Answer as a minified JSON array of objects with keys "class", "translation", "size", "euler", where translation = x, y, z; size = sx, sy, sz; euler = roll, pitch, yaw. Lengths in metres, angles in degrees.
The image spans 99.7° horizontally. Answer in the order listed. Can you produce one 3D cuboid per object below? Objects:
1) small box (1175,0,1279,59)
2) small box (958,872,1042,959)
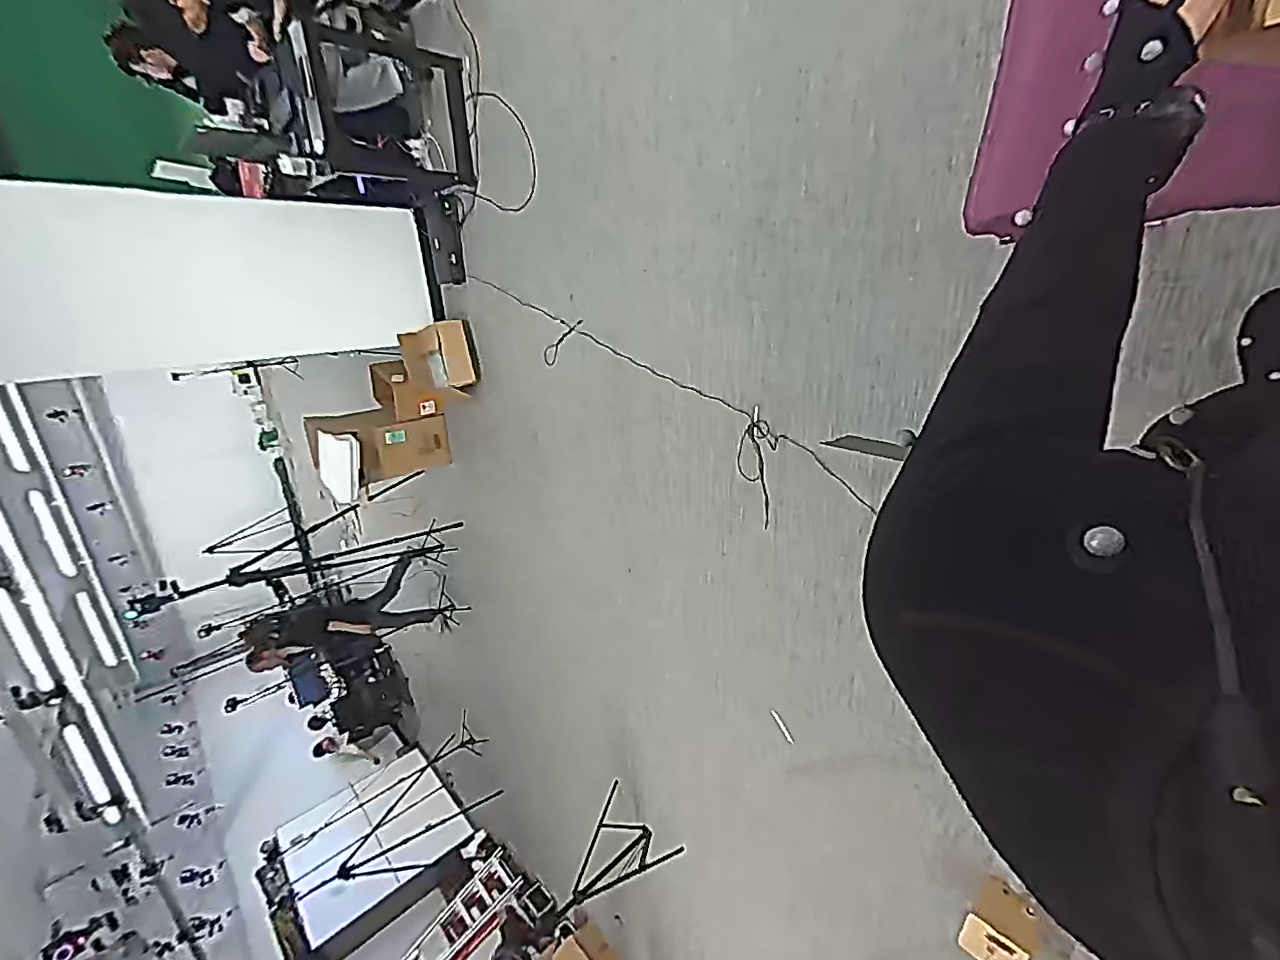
[{"class":"small box","translation":[0.569,-0.431,0.395],"size":[0.179,0.168,0.176],"euler":[-114,23,-63]},{"class":"small box","translation":[1.155,1.418,1.730],"size":[0.168,0.176,0.179],"euler":[23,123,43]}]
